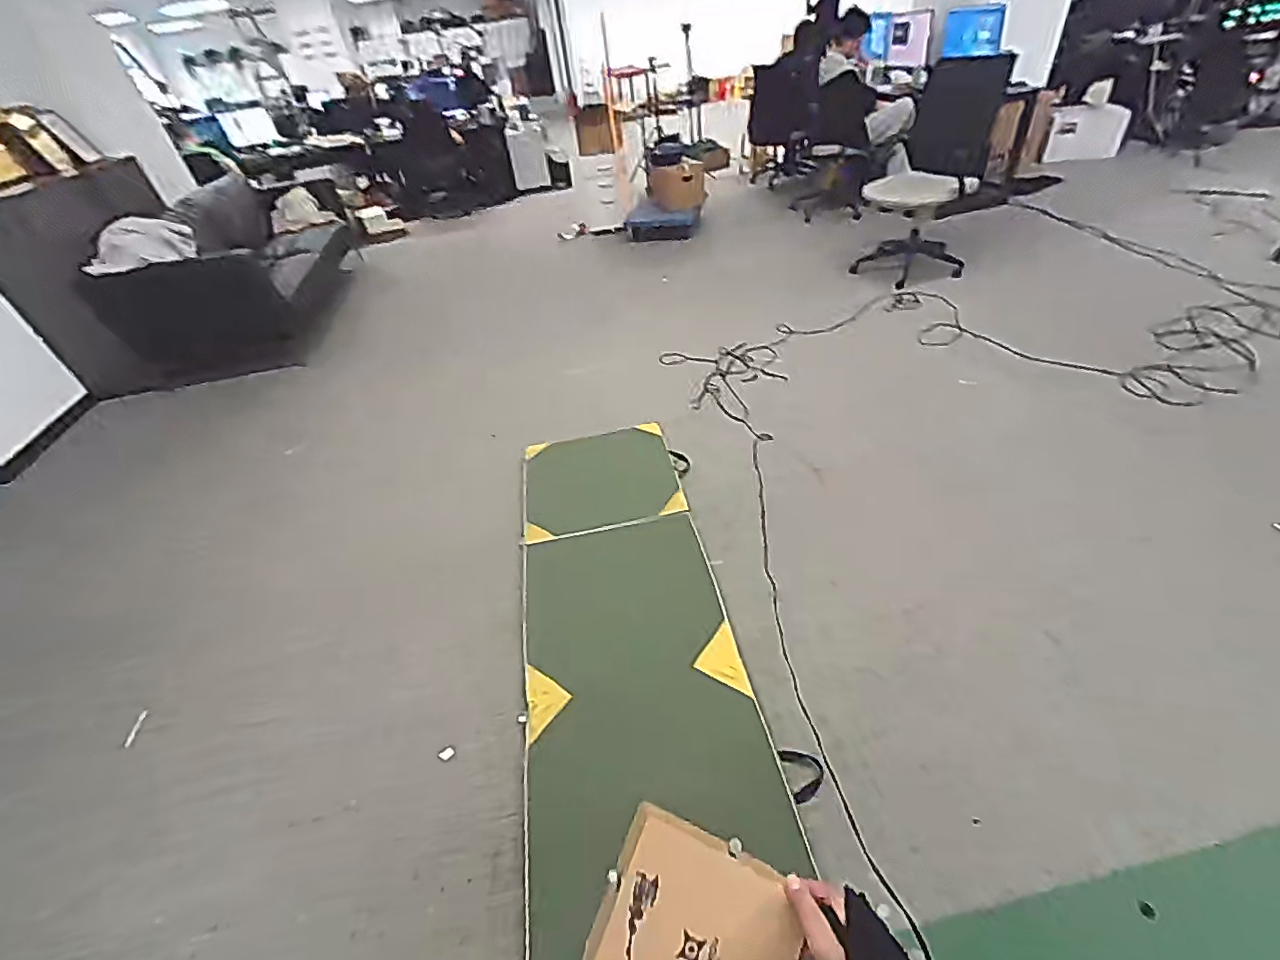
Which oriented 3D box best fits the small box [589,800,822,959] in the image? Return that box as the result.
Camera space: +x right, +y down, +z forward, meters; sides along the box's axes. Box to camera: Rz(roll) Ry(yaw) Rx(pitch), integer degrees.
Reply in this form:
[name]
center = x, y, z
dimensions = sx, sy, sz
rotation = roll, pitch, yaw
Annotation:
[small box]
center = 0.059, 0.460, 0.566
dimensions = 0.179, 0.176, 0.168
rotation = 24, 65, 9
